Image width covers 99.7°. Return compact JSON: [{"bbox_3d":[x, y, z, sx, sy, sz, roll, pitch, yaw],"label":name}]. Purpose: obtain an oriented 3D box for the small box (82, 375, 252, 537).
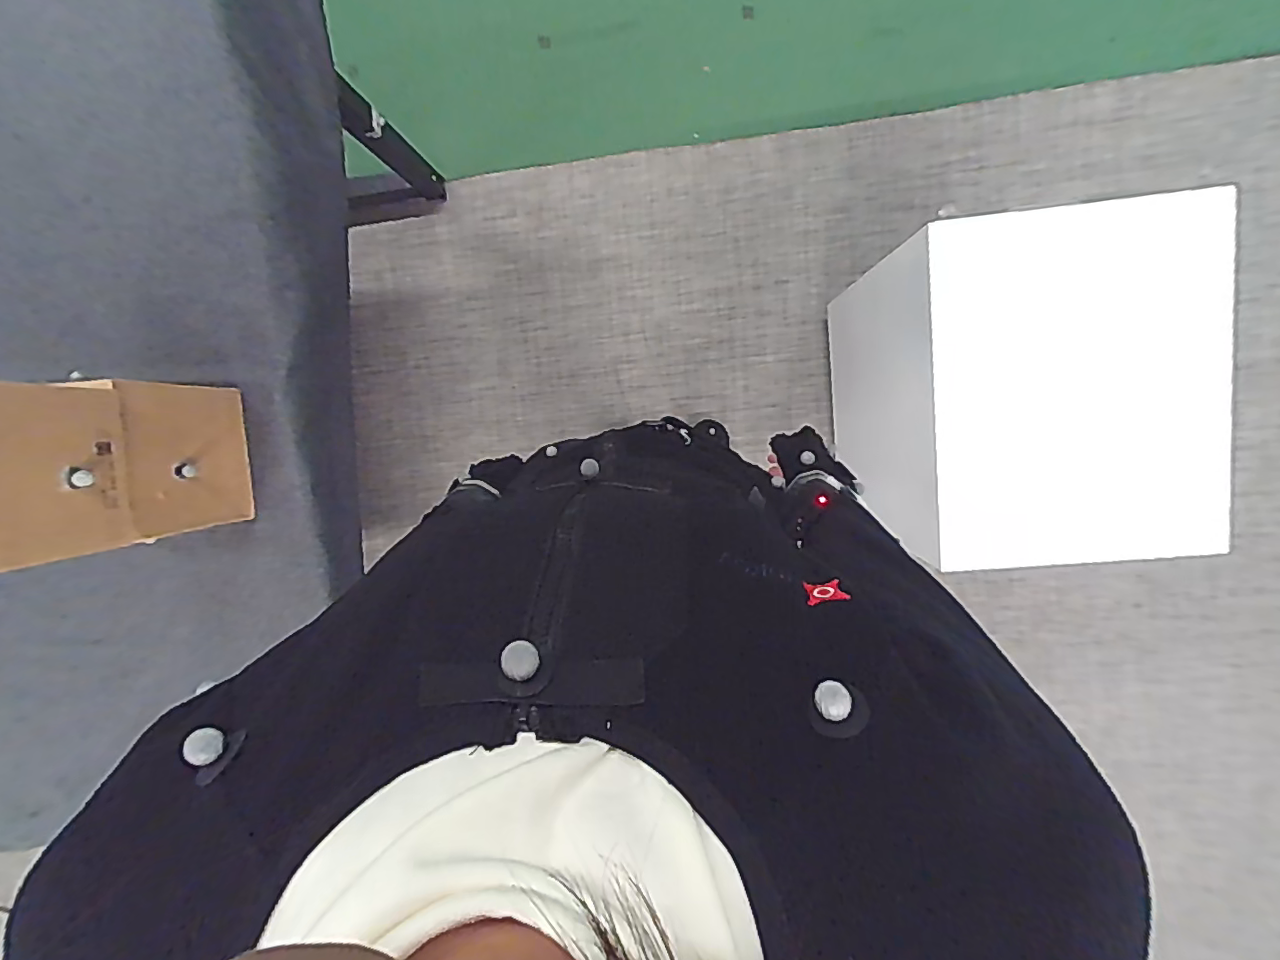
[{"bbox_3d":[-0.619,-0.033,0.664,0.168,0.176,0.179,-2,97,6],"label":"small box"}]
